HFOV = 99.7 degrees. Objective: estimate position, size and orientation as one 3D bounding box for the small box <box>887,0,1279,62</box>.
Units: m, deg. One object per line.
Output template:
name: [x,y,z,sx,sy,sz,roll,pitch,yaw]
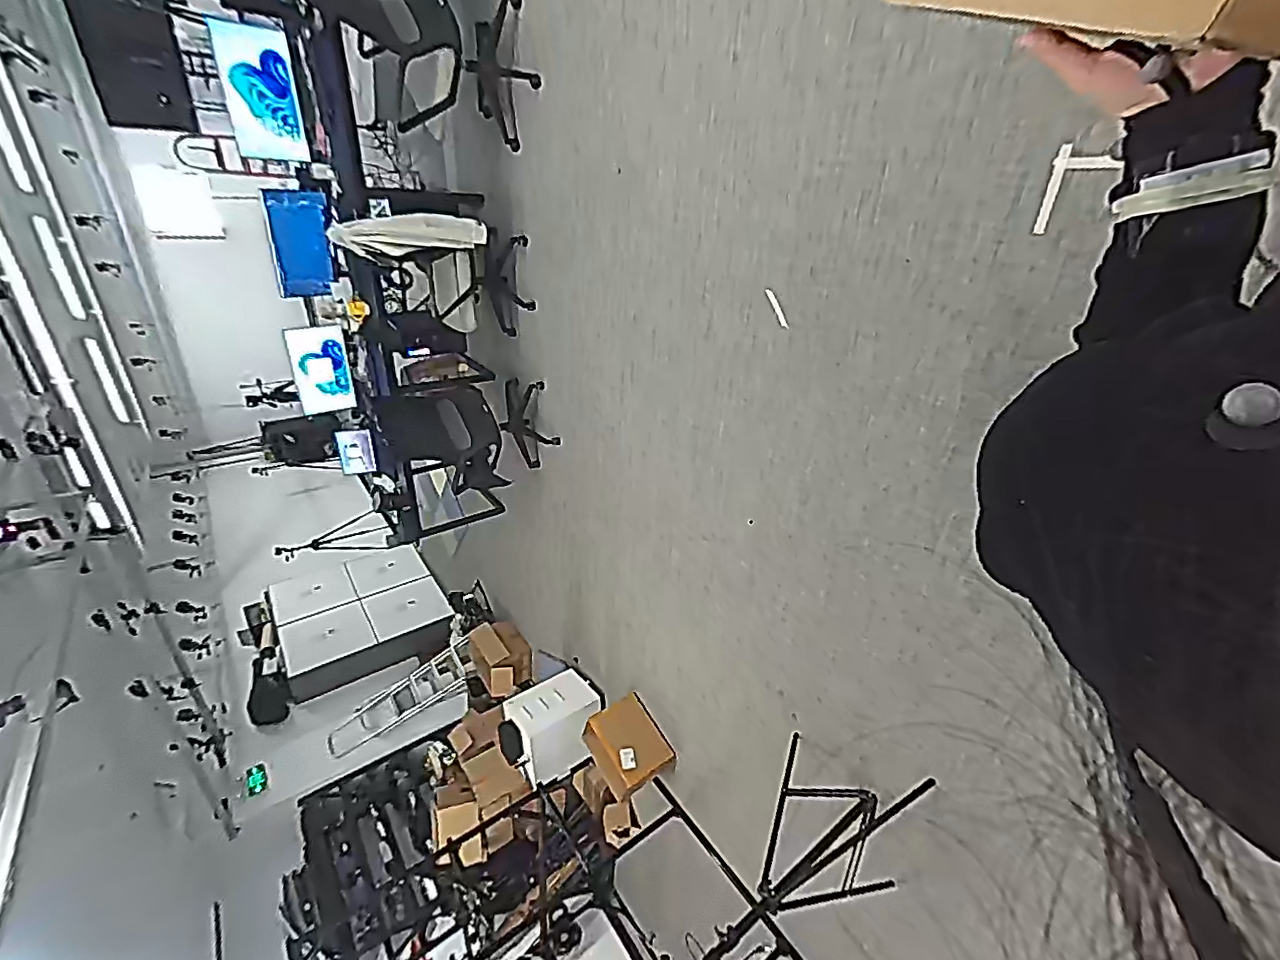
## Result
small box: [0.265,-0.308,0.248,0.179,0.176,0.168,53,148,38]
